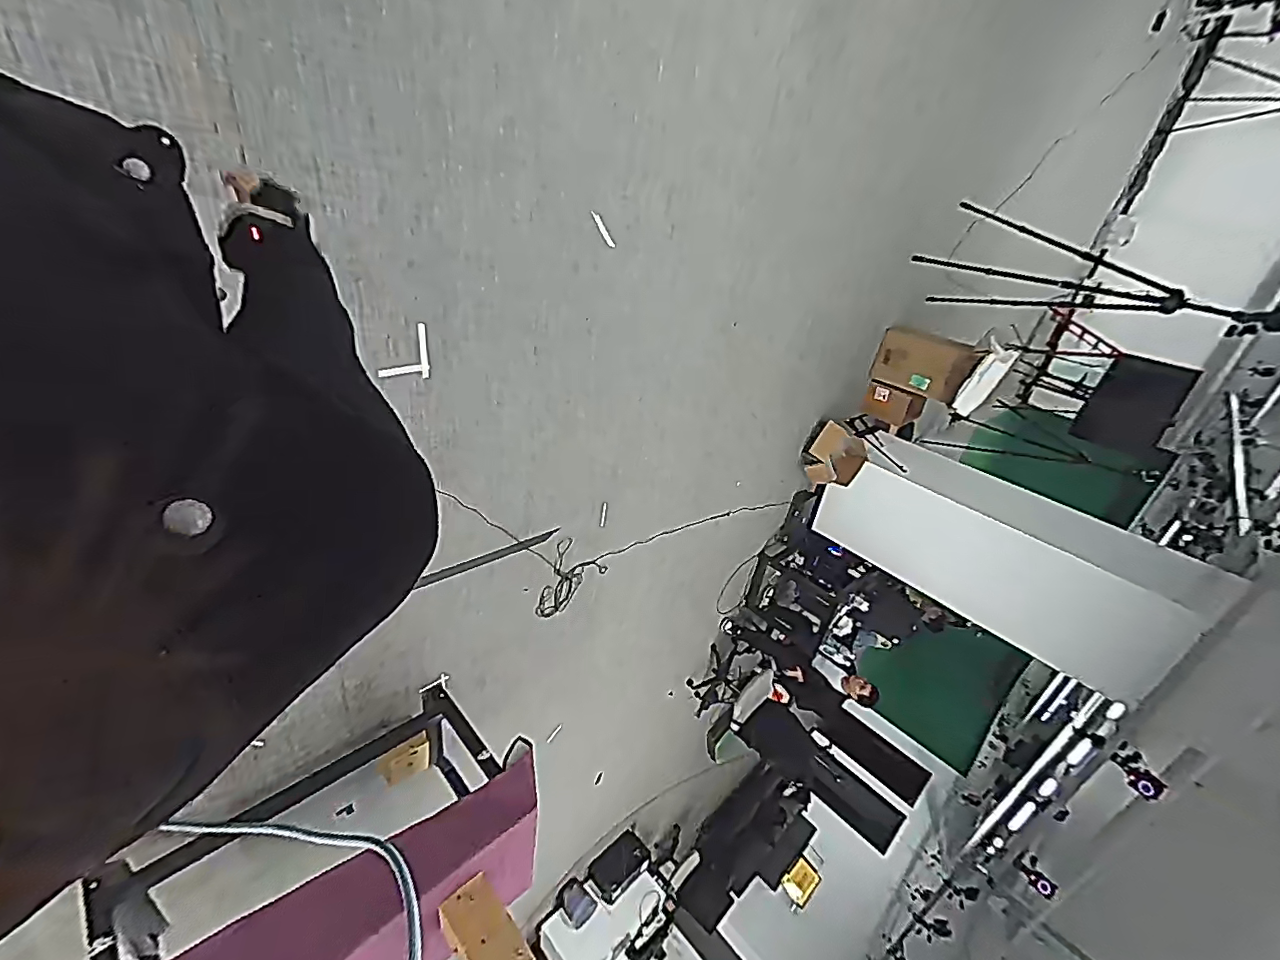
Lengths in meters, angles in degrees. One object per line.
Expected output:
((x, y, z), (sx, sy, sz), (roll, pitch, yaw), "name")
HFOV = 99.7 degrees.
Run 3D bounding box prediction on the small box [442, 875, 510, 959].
((-0.572, 1.534, 1.879), (0.168, 0.176, 0.179), (-20, 130, -41), "small box")
